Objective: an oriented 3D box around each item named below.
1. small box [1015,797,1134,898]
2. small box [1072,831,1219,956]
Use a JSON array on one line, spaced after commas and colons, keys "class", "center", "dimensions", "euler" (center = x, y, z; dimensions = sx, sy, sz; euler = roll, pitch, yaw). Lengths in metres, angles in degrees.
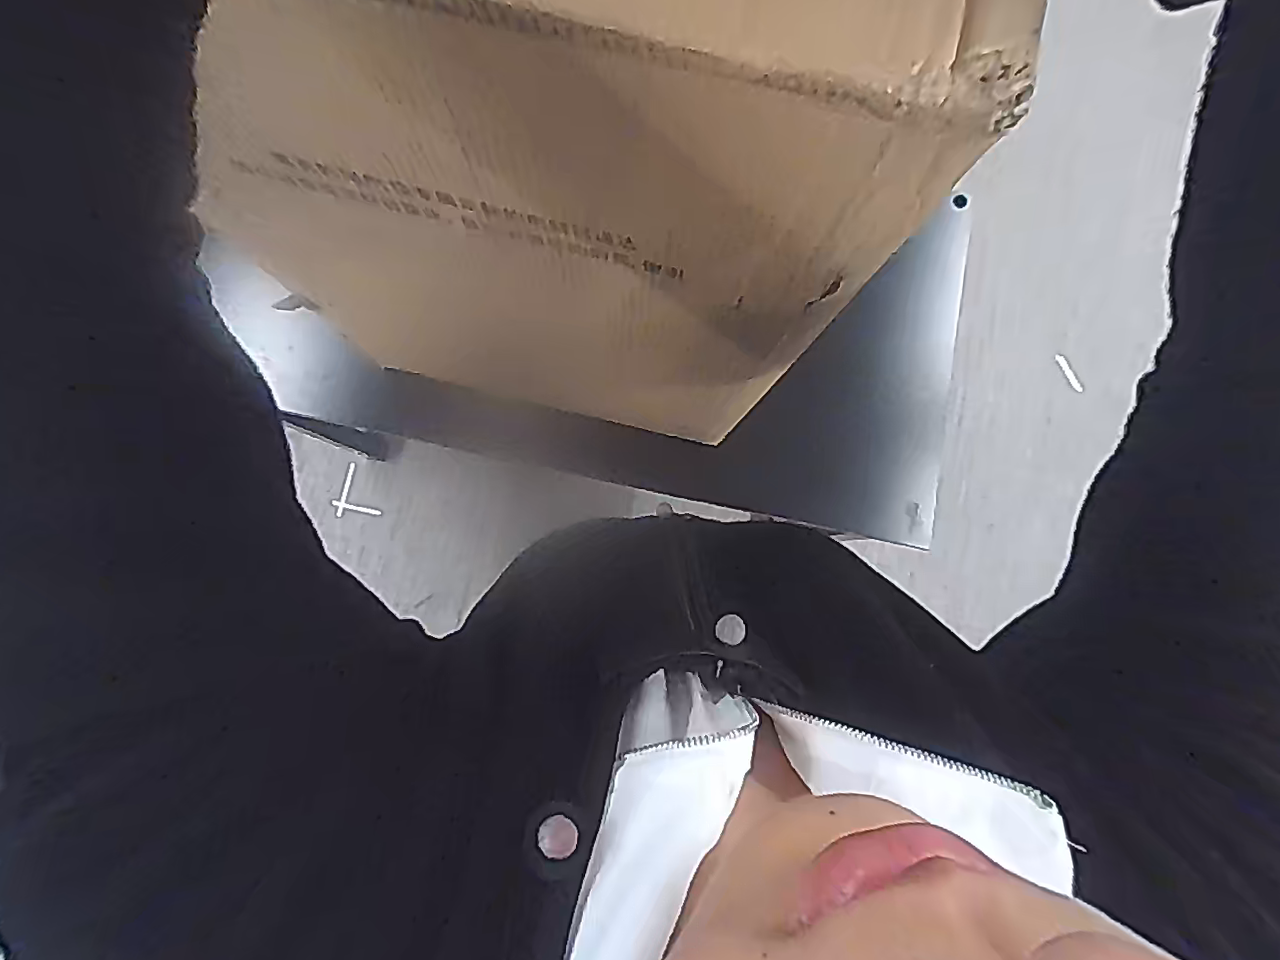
[{"class": "small box", "center": [1.104, 0.937, 1.378], "dimensions": [0.179, 0.176, 0.168], "euler": [9, 81, 0]}, {"class": "small box", "center": [1.124, 0.918, 1.215], "dimensions": [0.179, 0.176, 0.168], "euler": [5, 80, -2]}]
